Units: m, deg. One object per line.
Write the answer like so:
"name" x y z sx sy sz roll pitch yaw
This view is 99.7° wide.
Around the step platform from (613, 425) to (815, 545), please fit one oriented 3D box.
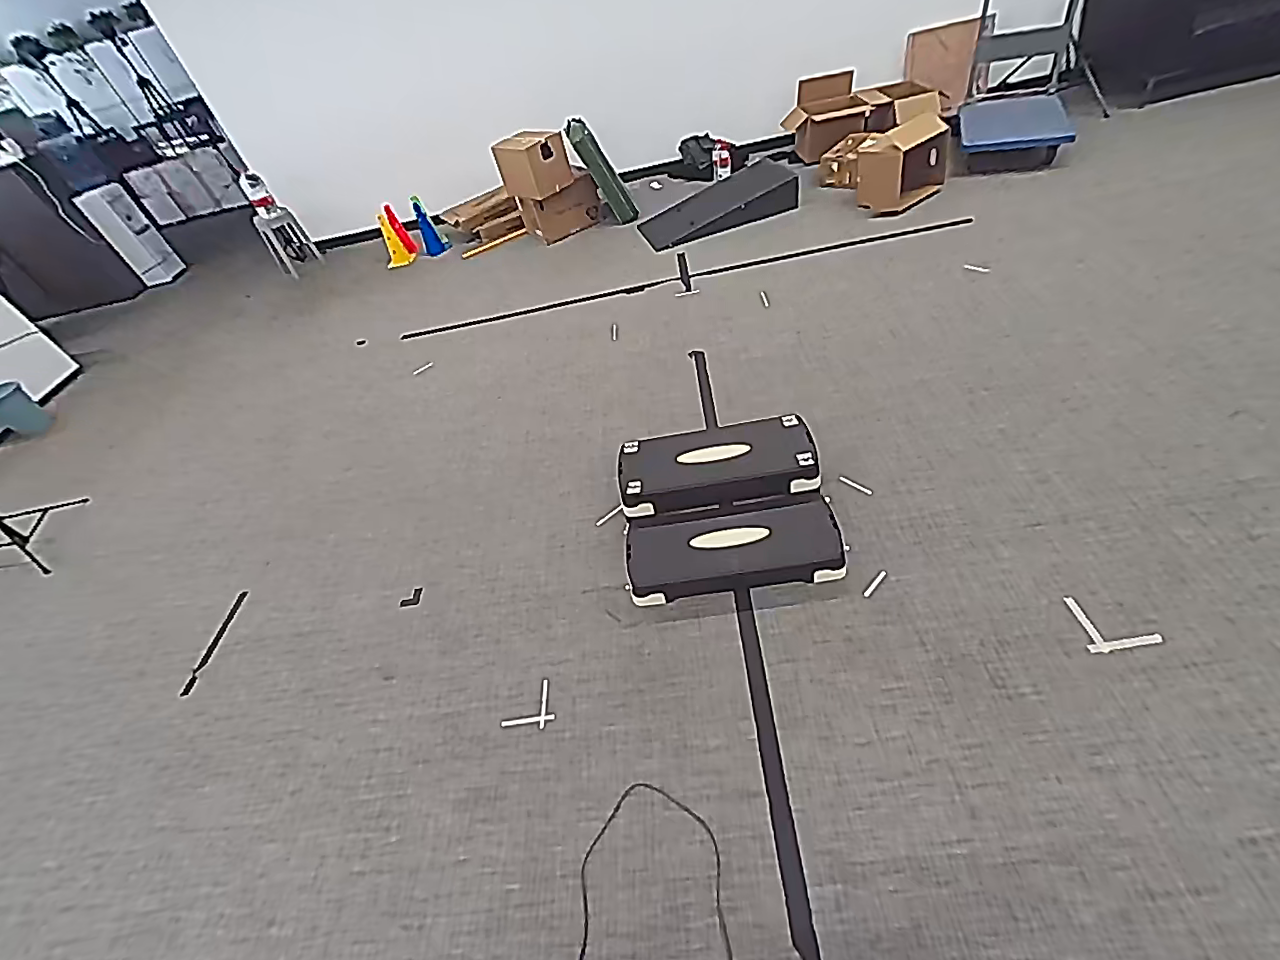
"step platform" 0.246 0.012 1.882 0.684 0.204 0.286 -10 45 5
